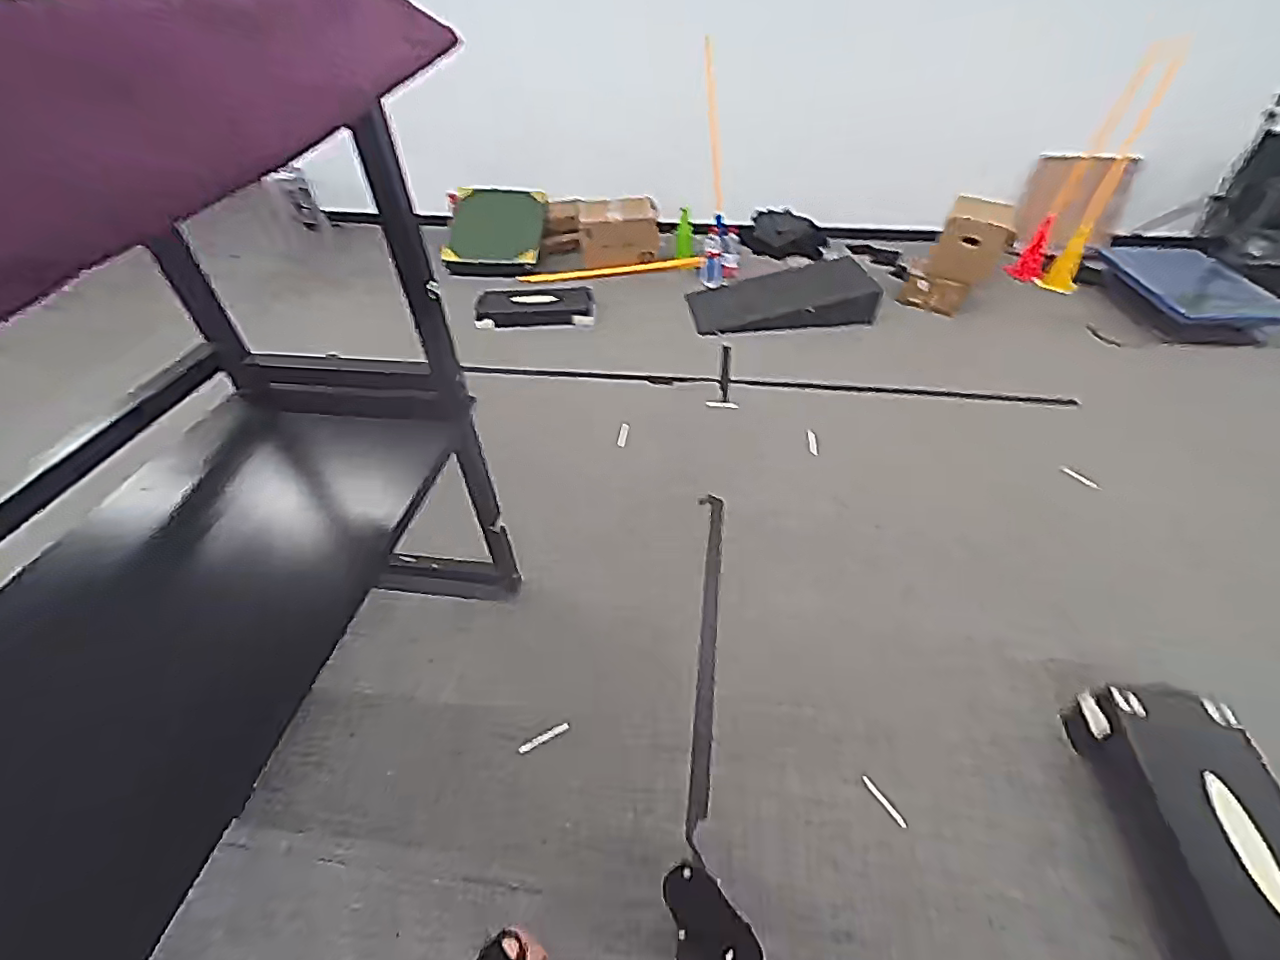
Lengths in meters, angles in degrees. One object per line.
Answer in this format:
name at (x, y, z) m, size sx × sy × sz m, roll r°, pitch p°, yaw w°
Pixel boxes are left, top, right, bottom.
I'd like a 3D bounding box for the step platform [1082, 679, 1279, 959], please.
step platform at (1.230, 0.779, 1.137) m, size 0.286 × 0.204 × 0.684 m, roll 9°, pitch 44°, yaw 11°
